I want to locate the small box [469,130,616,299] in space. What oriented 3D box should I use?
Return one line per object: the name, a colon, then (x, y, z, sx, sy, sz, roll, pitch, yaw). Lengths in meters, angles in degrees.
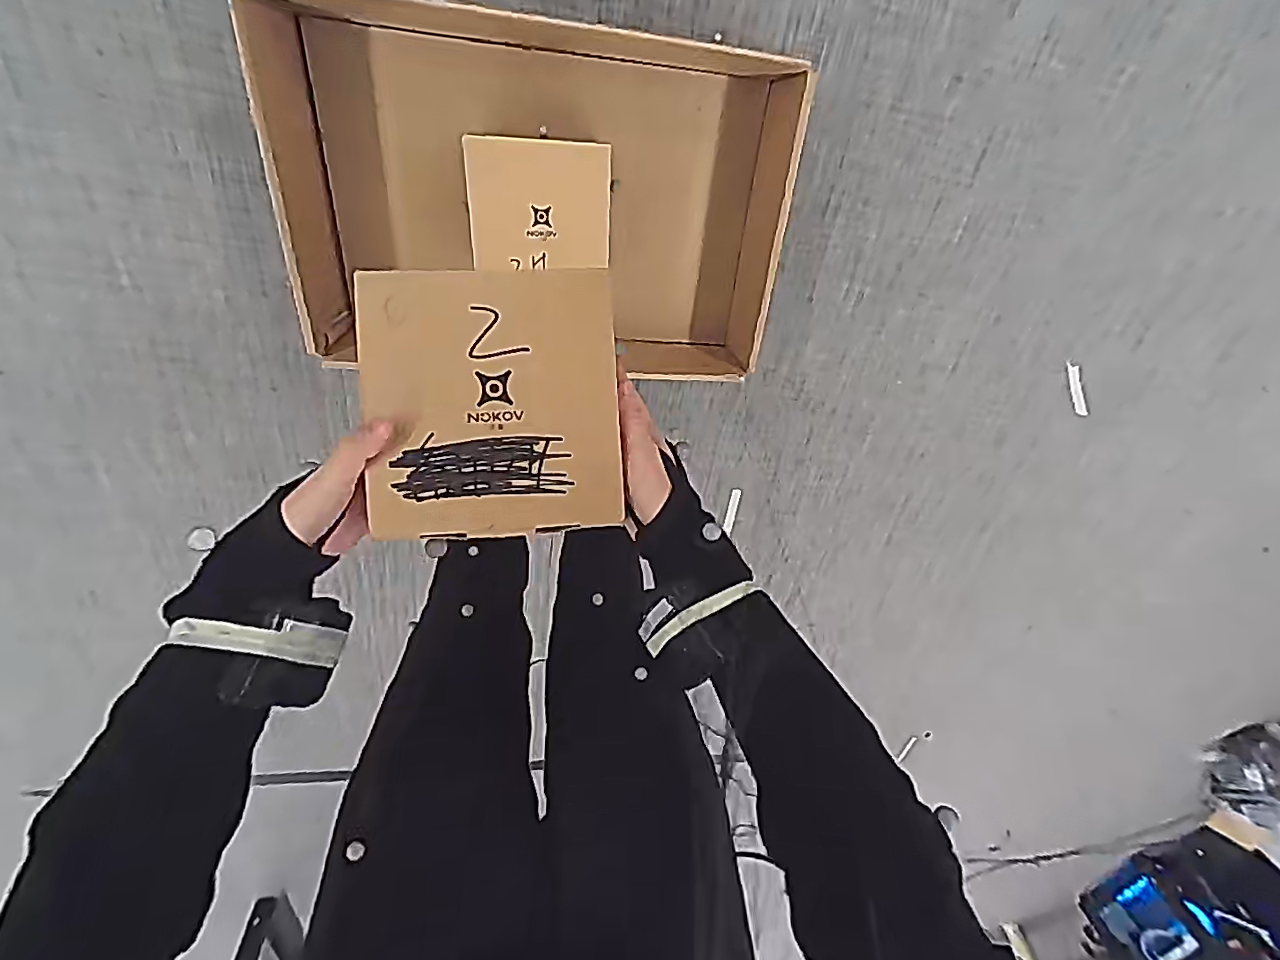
small box: (-0.126, -0.349, 0.712, 0.168, 0.176, 0.179, -1, 122, -9)
